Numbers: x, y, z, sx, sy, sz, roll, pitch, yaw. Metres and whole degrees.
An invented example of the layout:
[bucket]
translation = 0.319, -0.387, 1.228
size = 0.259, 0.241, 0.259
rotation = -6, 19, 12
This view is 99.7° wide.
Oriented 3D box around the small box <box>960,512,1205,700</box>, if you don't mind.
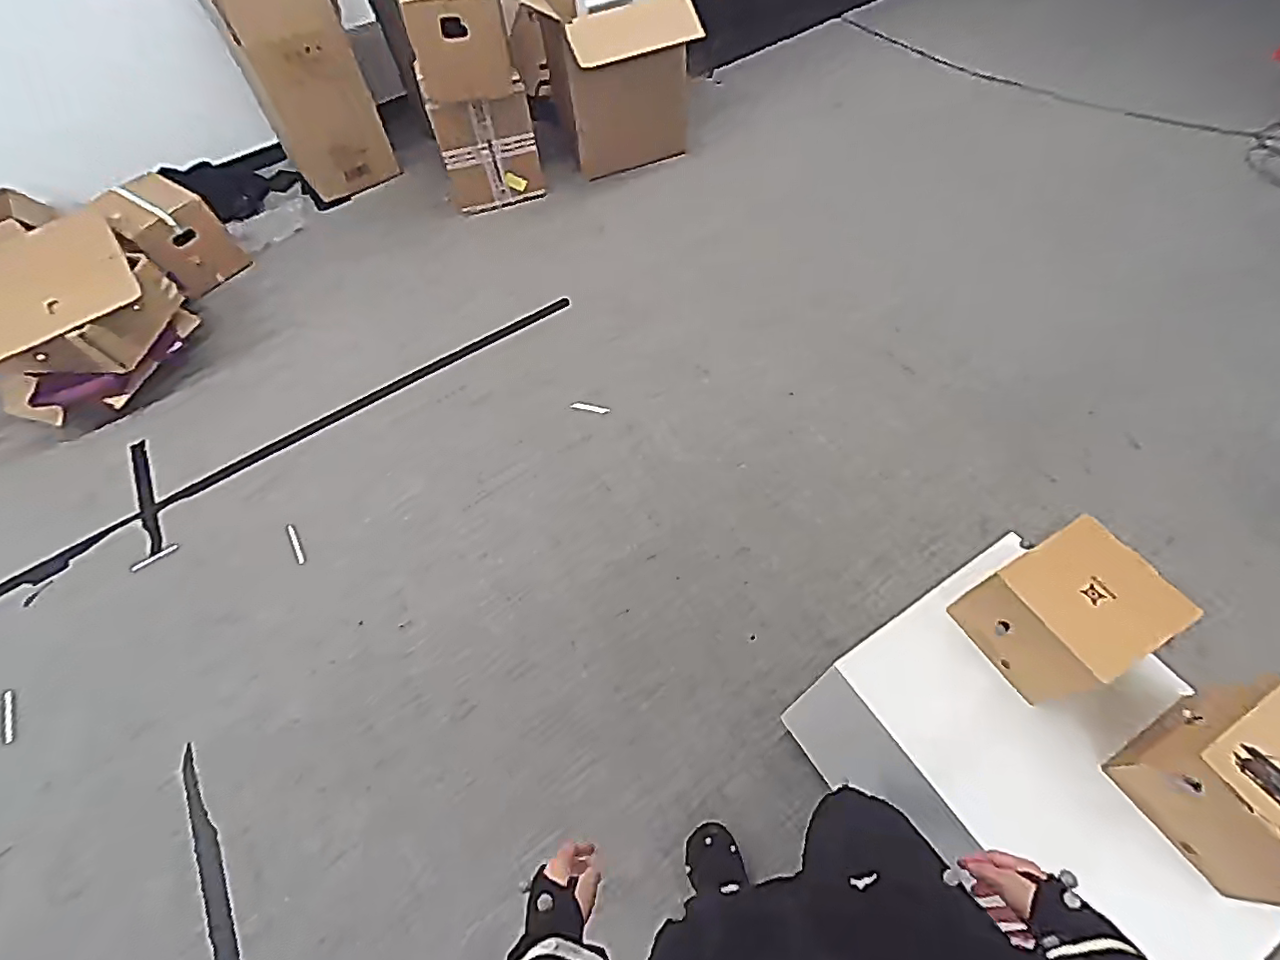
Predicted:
[small box]
translation = 0.585, 0.182, 0.750
size = 0.179, 0.176, 0.168
rotation = -27, 61, -11
